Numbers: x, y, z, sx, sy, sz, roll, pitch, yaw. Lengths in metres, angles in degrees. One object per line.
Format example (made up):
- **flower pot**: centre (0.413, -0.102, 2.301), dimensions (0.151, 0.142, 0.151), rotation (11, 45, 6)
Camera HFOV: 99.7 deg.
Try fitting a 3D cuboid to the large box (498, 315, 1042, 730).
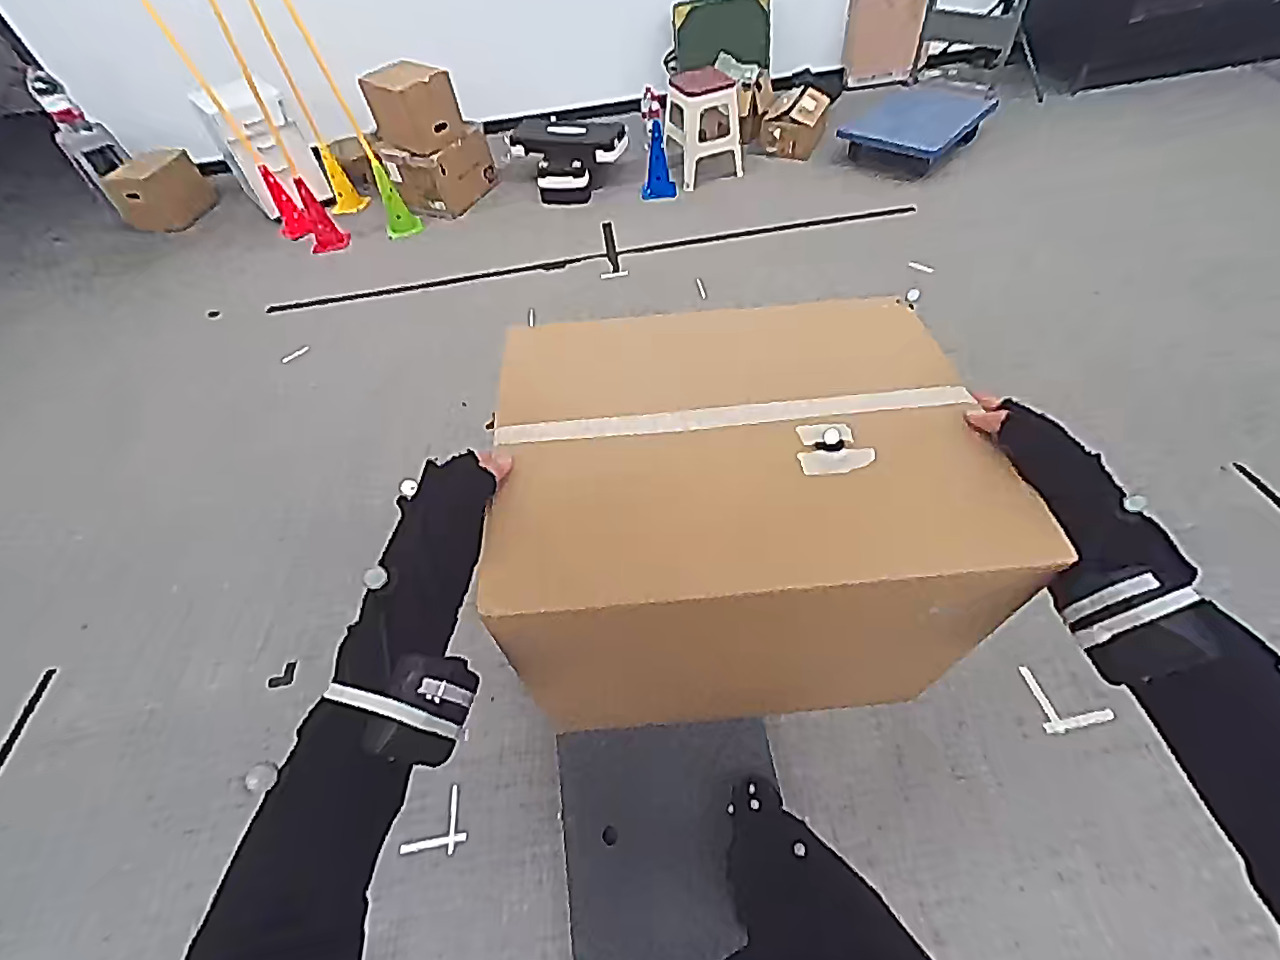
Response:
- **large box**: centre (0.086, 0.052, 0.591), dimensions (0.408, 0.320, 0.320), rotation (-5, 51, -1)
